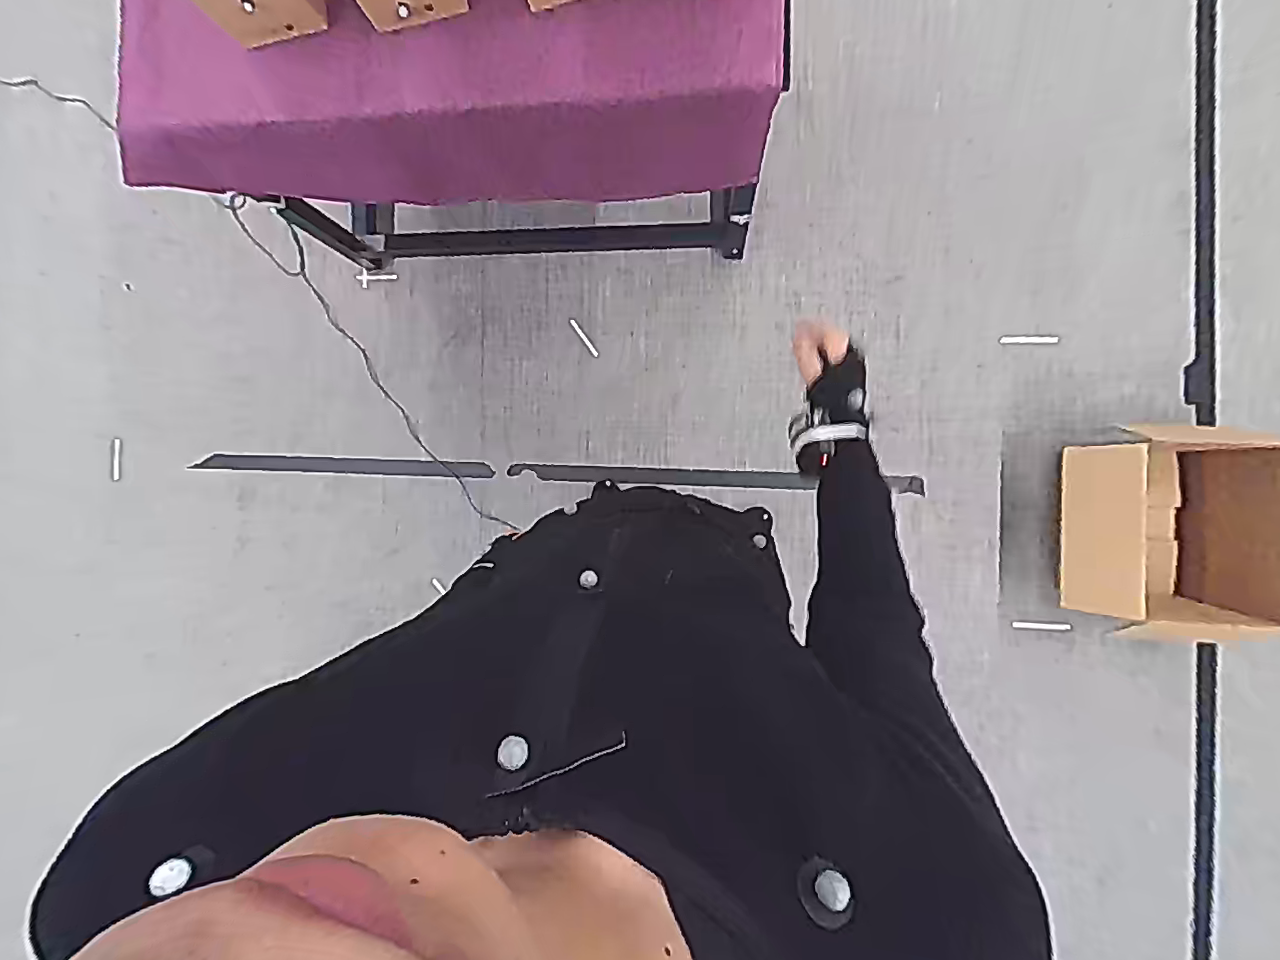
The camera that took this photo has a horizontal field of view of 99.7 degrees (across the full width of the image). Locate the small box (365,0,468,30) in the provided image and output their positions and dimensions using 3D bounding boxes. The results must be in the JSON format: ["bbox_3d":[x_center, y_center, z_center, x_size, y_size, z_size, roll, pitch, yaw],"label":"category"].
[{"bbox_3d":[-0.389,-0.873,0.850,0.168,0.176,0.179,-9,89,7],"label":"small box"}]

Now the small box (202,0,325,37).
[{"bbox_3d":[-0.641,-0.867,0.874,0.168,0.176,0.179,-8,89,5],"label":"small box"}]
